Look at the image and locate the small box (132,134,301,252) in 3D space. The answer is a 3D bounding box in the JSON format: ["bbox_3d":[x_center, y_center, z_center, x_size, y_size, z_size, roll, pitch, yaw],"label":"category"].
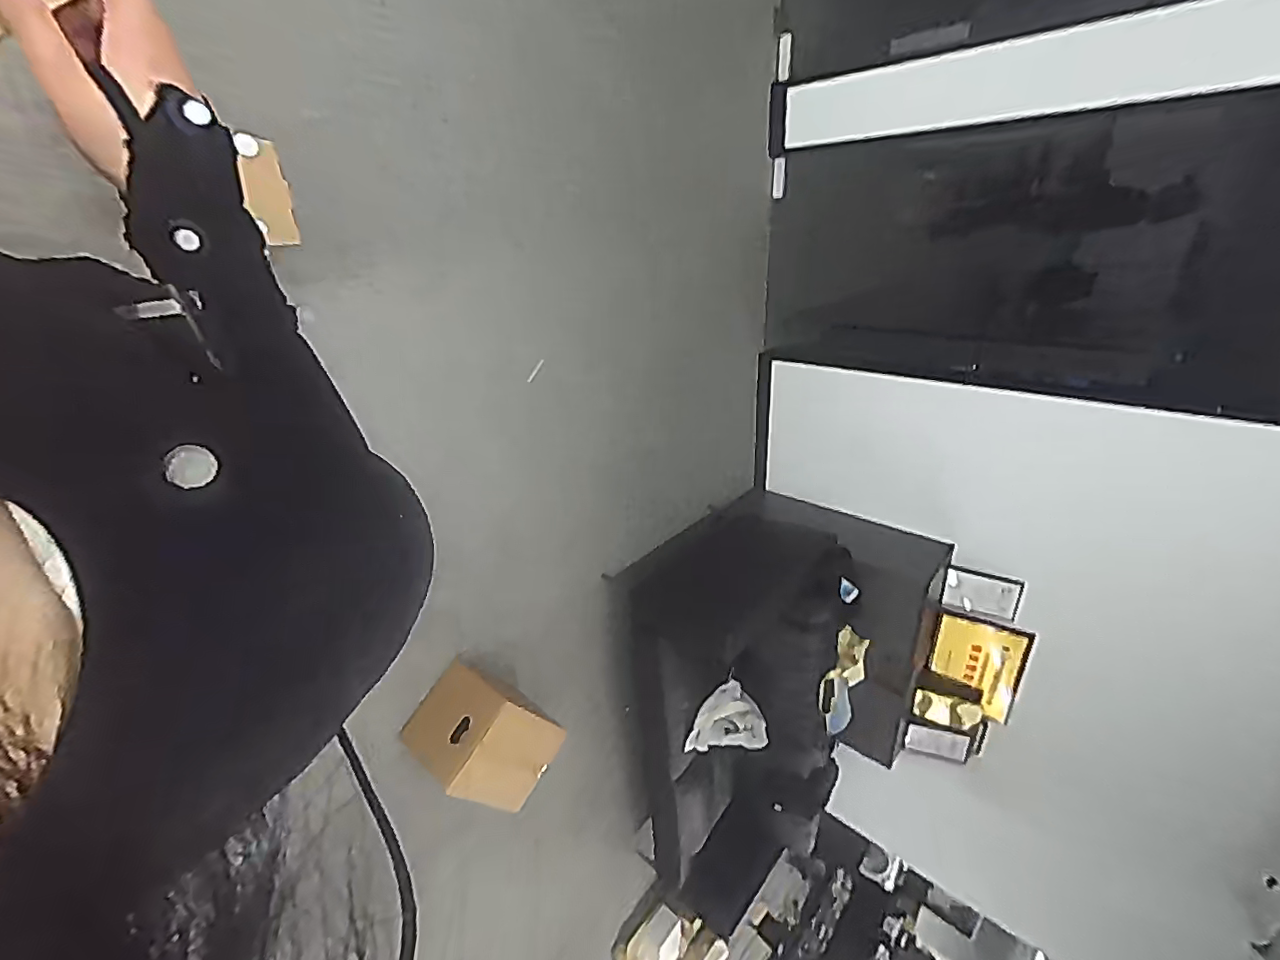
[{"bbox_3d":[-0.740,-0.493,0.948,0.179,0.176,0.168,-26,123,-41],"label":"small box"}]

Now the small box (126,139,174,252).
[{"bbox_3d":[-0.855,-0.544,1.052,0.168,0.176,0.179,-27,124,-42],"label":"small box"}]
